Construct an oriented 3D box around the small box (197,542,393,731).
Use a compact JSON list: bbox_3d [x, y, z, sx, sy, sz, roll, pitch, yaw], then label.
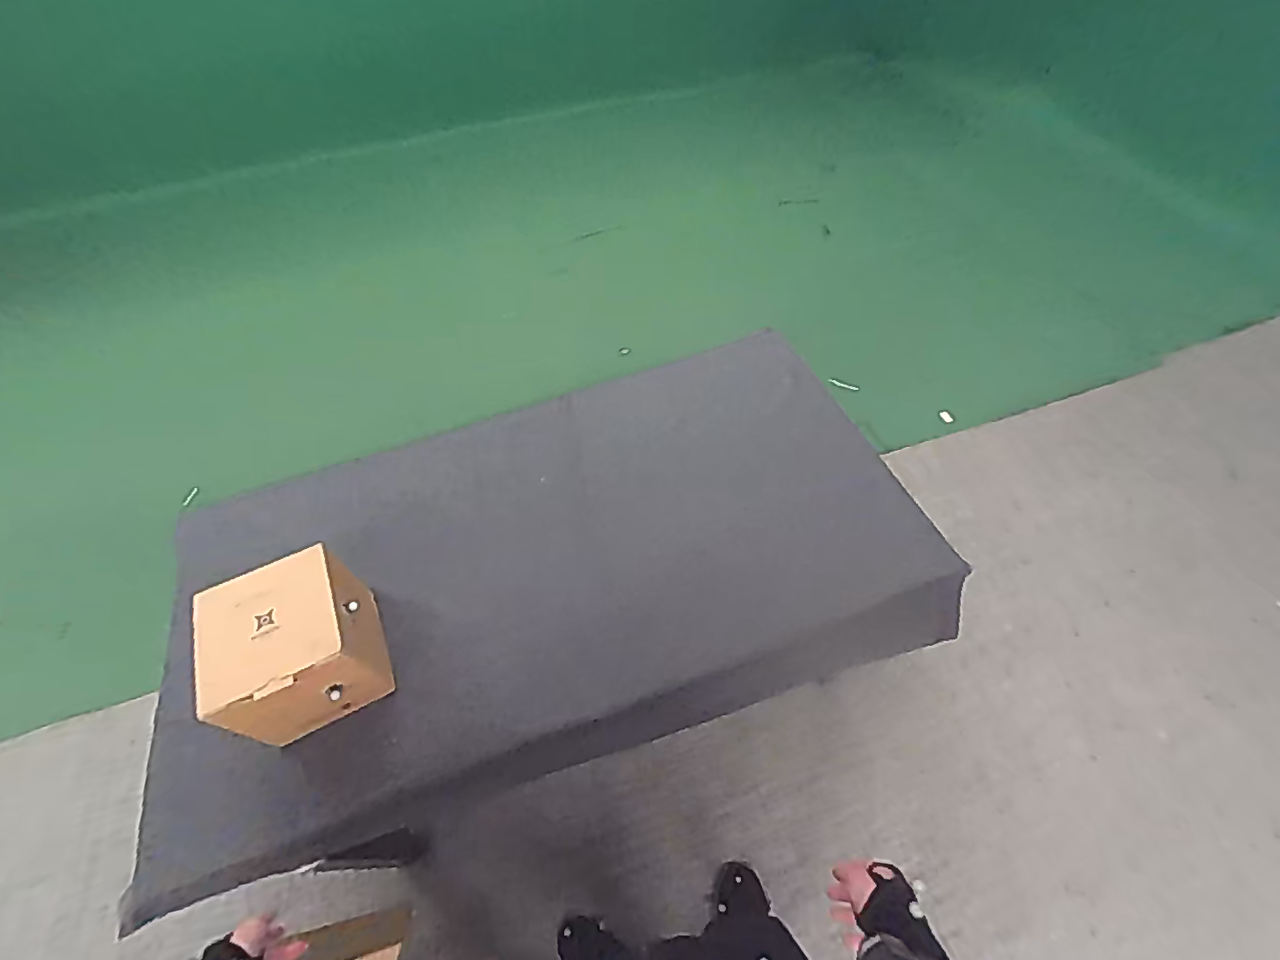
[{"bbox_3d":[-0.468,0.224,0.751,0.168,0.176,0.179,-24,55,-15],"label":"small box"}]
